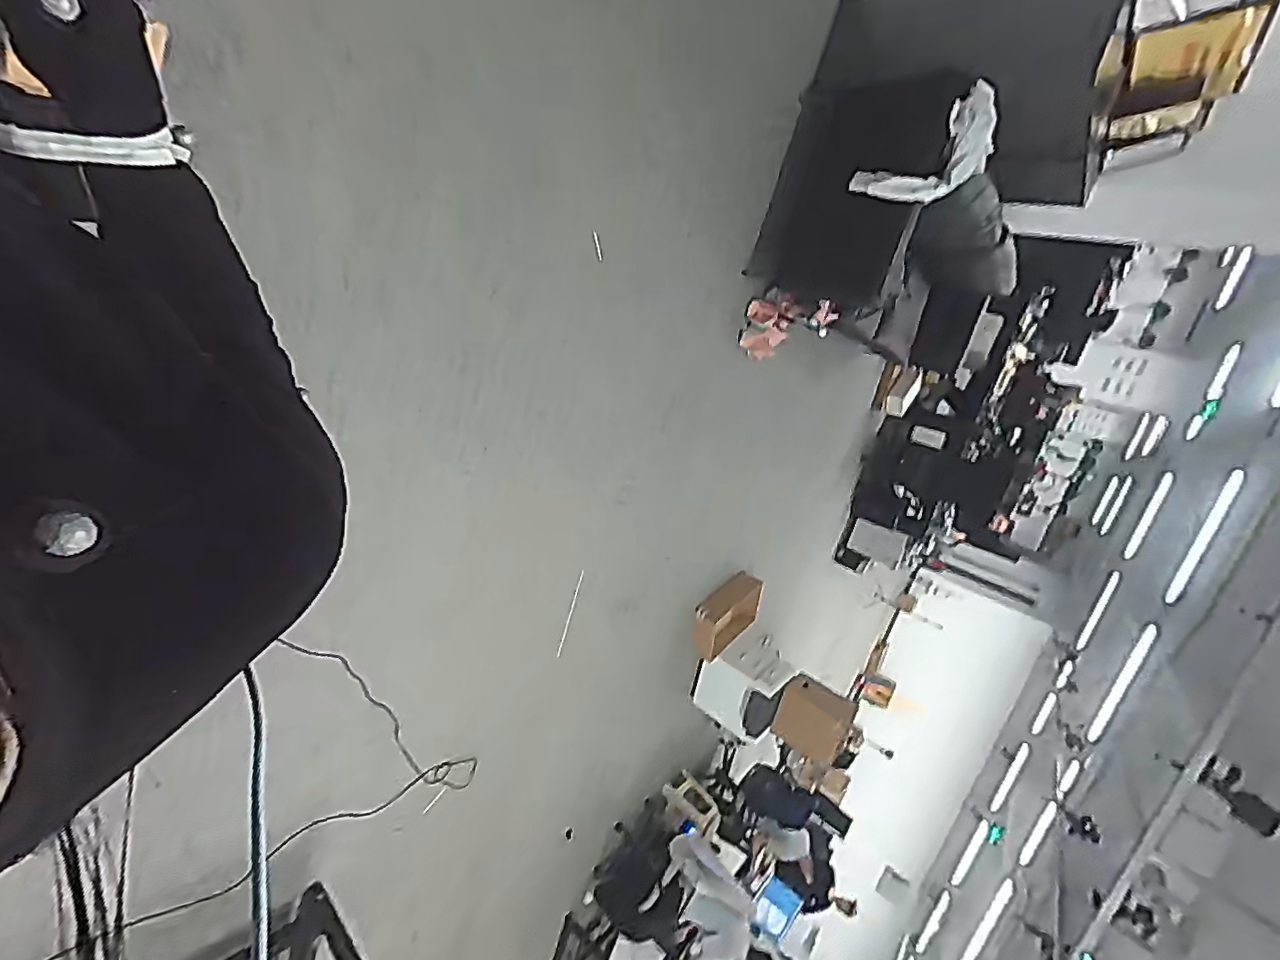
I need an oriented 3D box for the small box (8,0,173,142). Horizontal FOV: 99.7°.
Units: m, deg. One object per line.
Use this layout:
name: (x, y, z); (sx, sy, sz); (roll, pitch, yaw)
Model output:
small box: (-0.914, -0.696, 0.898); (0.168, 0.176, 0.179); (4, 109, -53)
